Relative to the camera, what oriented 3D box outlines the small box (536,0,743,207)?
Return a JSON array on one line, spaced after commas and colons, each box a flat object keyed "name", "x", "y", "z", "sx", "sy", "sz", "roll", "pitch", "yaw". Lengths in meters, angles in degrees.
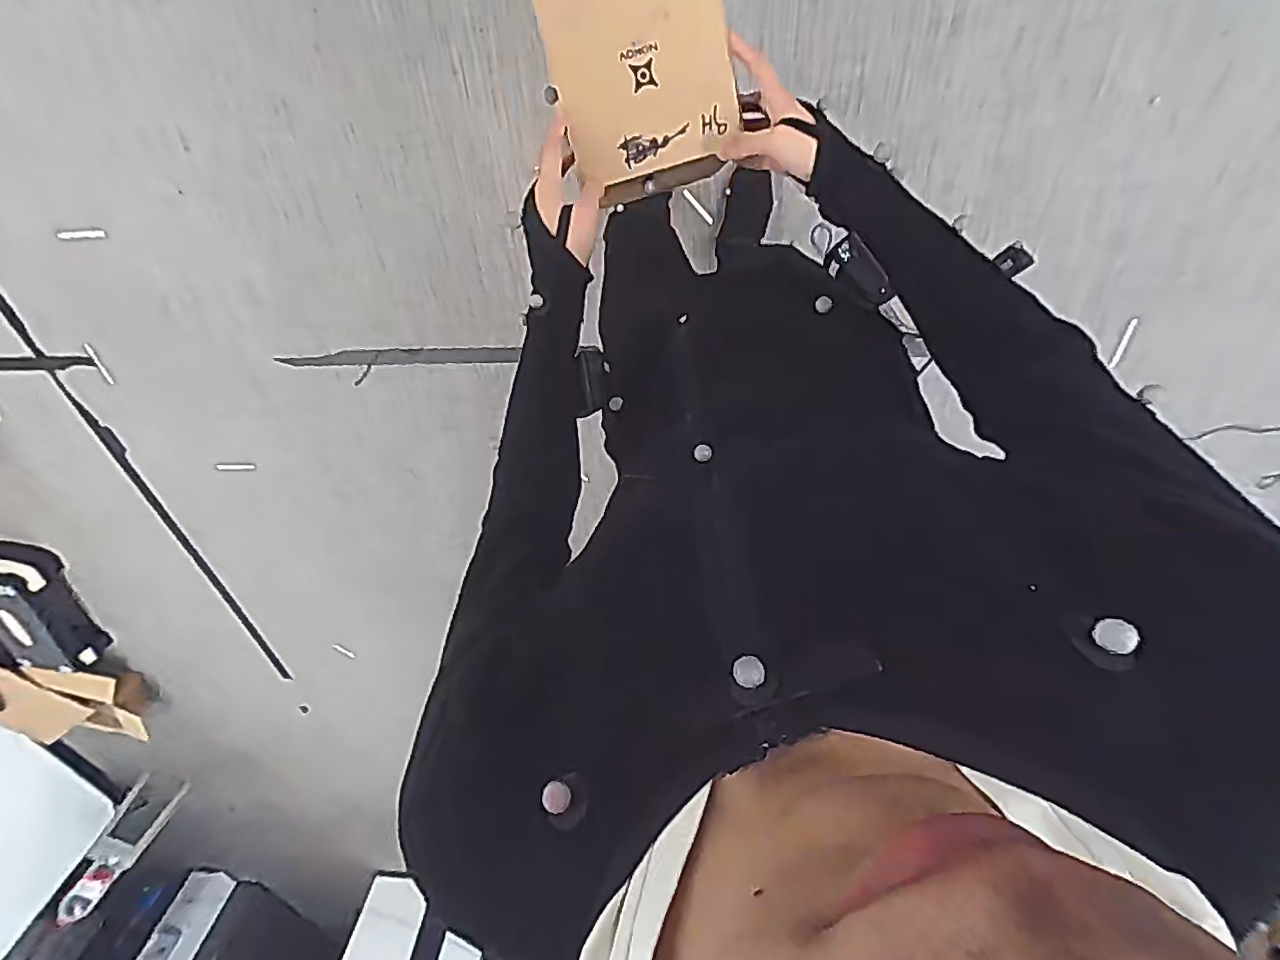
[{"name": "small box", "x": -0.004, "y": -0.408, "z": 0.565, "sx": 0.168, "sy": 0.176, "sz": 0.179, "roll": -14, "pitch": 110, "yaw": 2}]
